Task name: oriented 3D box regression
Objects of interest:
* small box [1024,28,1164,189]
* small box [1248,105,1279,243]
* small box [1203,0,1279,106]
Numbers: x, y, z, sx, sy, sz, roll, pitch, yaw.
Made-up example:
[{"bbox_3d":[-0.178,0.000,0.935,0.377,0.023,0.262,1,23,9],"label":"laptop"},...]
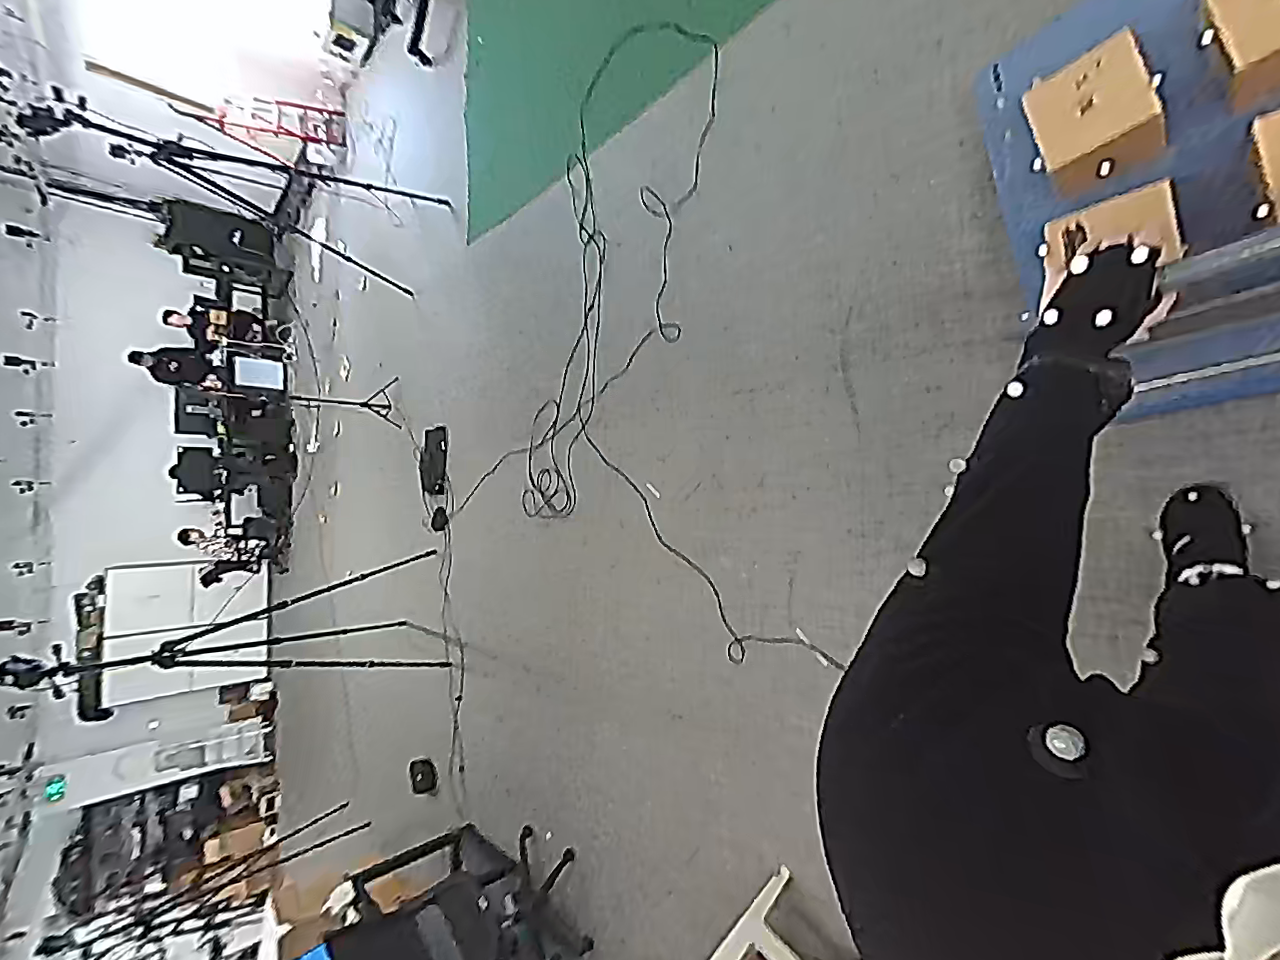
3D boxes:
[{"bbox_3d":[0.886,-0.702,1.054,0.168,0.176,0.179,-20,75,43],"label":"small box"},{"bbox_3d":[1.090,-0.502,0.841,0.168,0.176,0.179,-14,80,45],"label":"small box"},{"bbox_3d":[1.054,-0.767,0.878,0.168,0.176,0.179,-21,76,45],"label":"small box"}]
